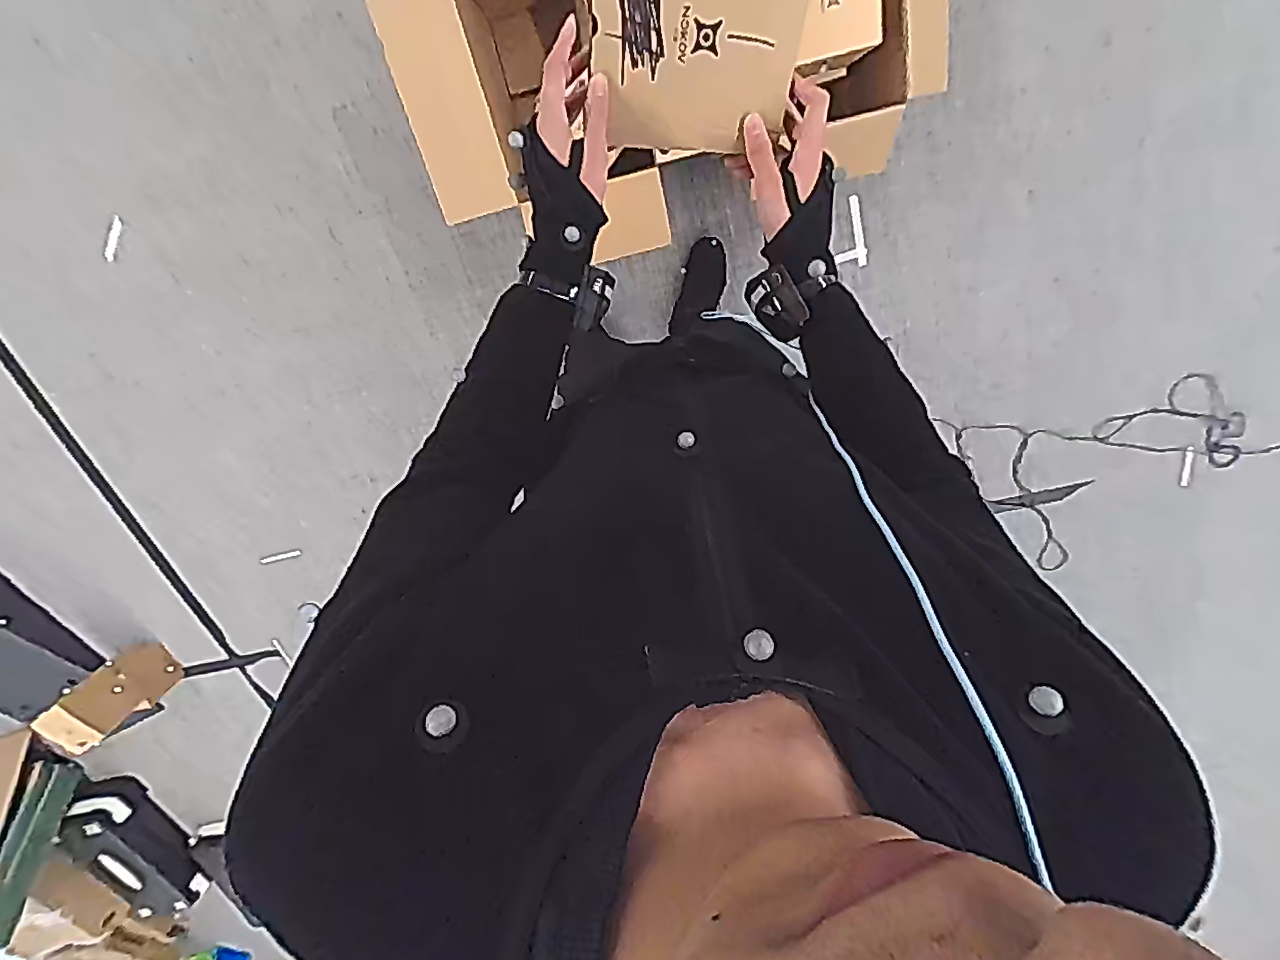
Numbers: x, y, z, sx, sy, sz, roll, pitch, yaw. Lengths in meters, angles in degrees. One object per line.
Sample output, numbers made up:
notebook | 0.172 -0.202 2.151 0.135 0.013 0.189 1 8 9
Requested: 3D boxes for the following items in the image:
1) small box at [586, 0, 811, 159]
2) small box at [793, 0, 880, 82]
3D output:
small box | 0.041 -0.411 0.493 0.179 0.176 0.168 0 134 -6
small box | 0.329 -0.867 1.014 0.179 0.176 0.168 -12 116 6
